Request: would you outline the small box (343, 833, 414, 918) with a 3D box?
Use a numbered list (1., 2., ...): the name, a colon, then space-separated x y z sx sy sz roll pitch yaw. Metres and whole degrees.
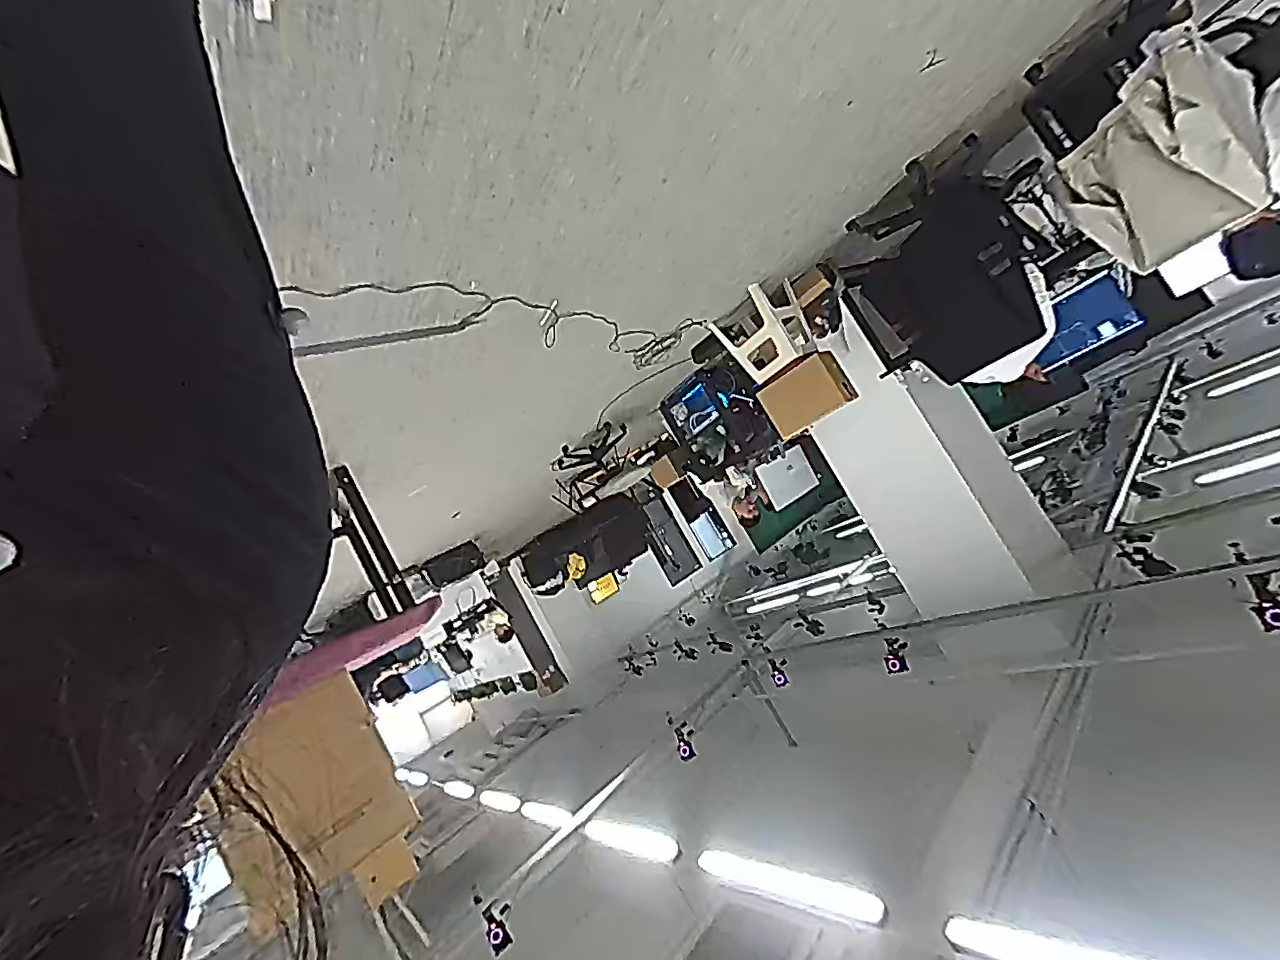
1. small box: -0.955 1.426 1.963 0.179 0.176 0.168 -26 174 -38
